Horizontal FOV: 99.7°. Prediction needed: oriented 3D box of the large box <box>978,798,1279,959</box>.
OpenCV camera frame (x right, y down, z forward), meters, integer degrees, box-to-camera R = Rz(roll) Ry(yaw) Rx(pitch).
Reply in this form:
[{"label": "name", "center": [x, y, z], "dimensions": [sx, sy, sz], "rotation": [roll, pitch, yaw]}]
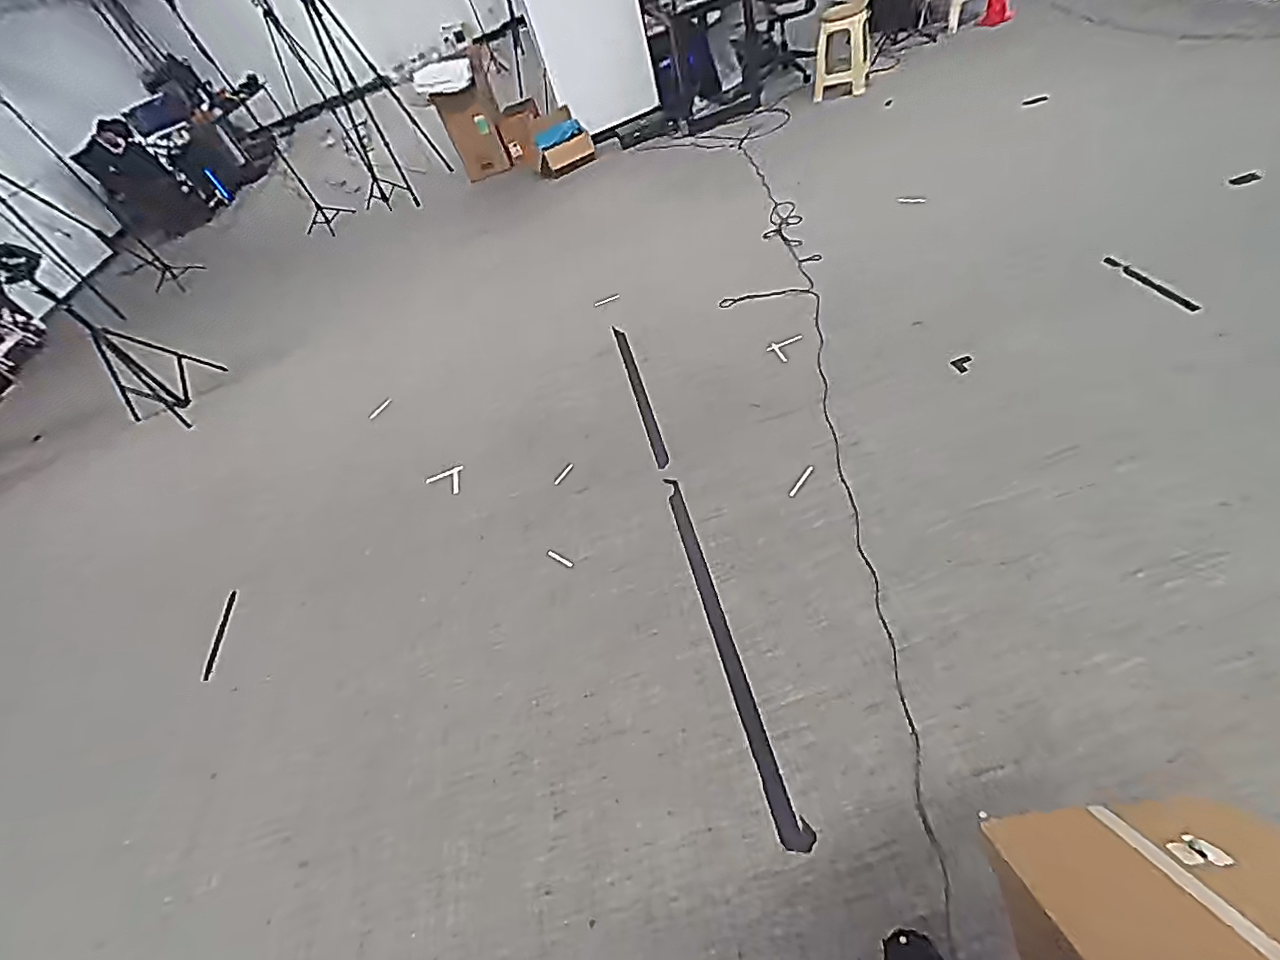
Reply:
[{"label": "large box", "center": [0.655, 0.614, 0.580], "dimensions": [0.320, 0.408, 0.320], "rotation": [-13, 81, 9]}]
